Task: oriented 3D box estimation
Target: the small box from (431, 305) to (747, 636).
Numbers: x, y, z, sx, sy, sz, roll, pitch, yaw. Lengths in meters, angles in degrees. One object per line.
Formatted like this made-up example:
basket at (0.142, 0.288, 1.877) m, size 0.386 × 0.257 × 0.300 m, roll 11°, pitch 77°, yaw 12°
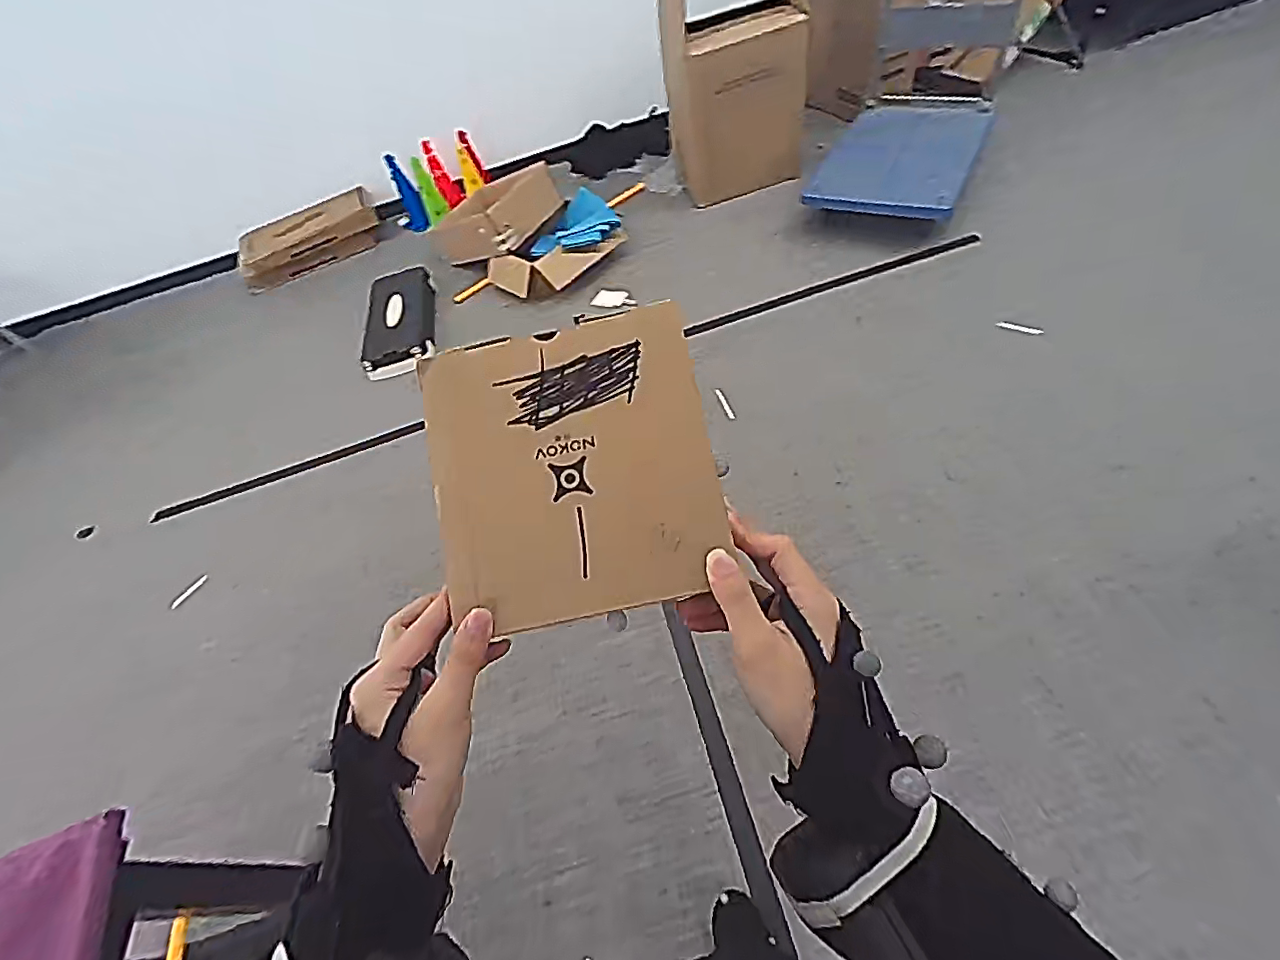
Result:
small box at (-0.029, 0.006, 0.394) m, size 0.168 × 0.176 × 0.179 m, roll -12°, pitch 78°, yaw 3°
